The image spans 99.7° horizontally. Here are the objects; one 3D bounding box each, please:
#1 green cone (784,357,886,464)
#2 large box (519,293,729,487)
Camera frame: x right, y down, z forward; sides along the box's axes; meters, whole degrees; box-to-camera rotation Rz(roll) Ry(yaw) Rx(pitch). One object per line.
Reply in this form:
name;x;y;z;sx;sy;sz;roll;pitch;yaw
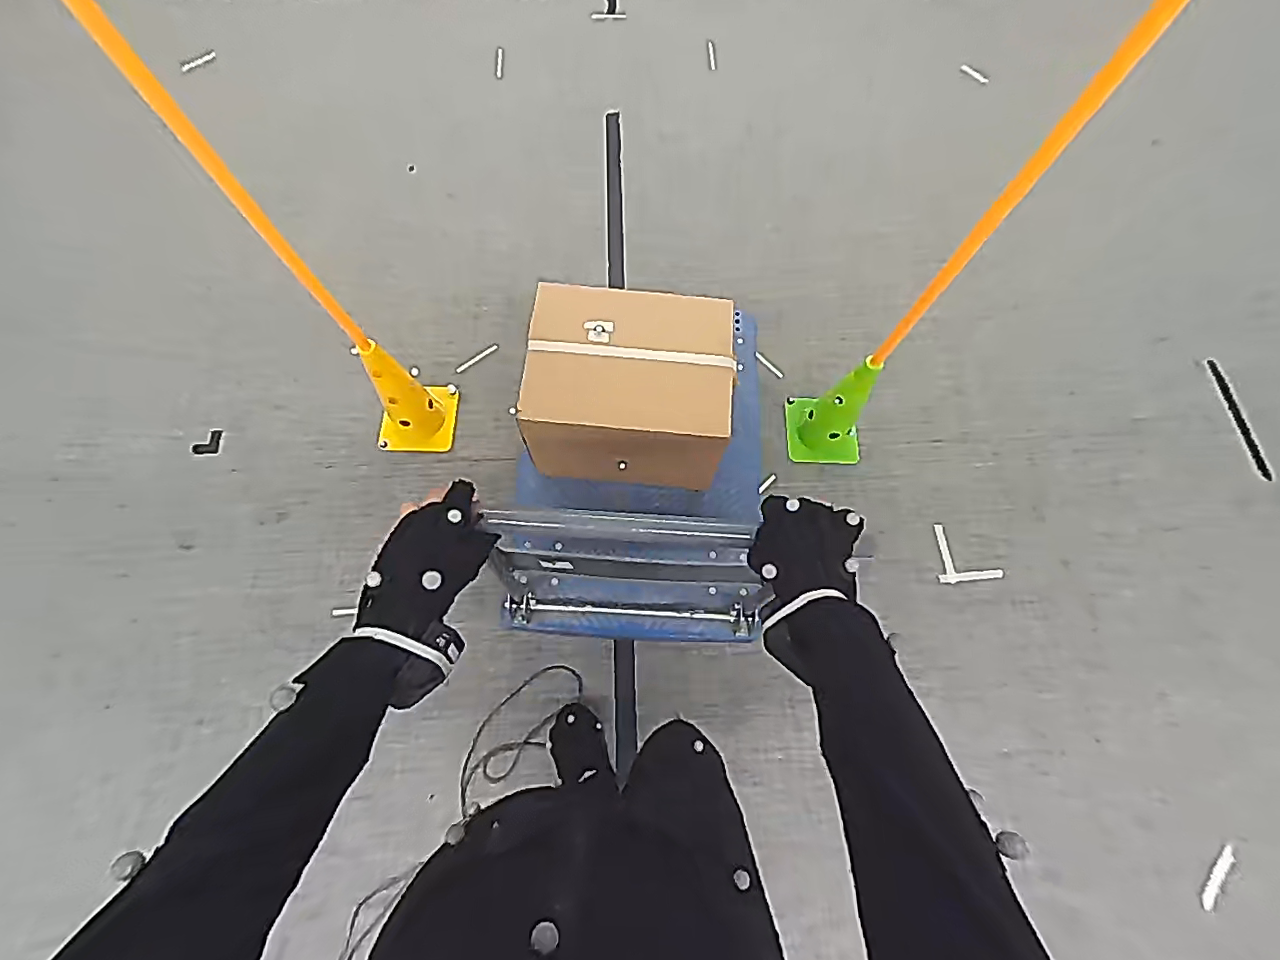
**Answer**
green cone;0.524;-0.198;1.389;0.202;0.368;0.200;3;70;-2
large box;-0.024;-0.184;1.214;0.408;0.320;0.320;5;70;0
